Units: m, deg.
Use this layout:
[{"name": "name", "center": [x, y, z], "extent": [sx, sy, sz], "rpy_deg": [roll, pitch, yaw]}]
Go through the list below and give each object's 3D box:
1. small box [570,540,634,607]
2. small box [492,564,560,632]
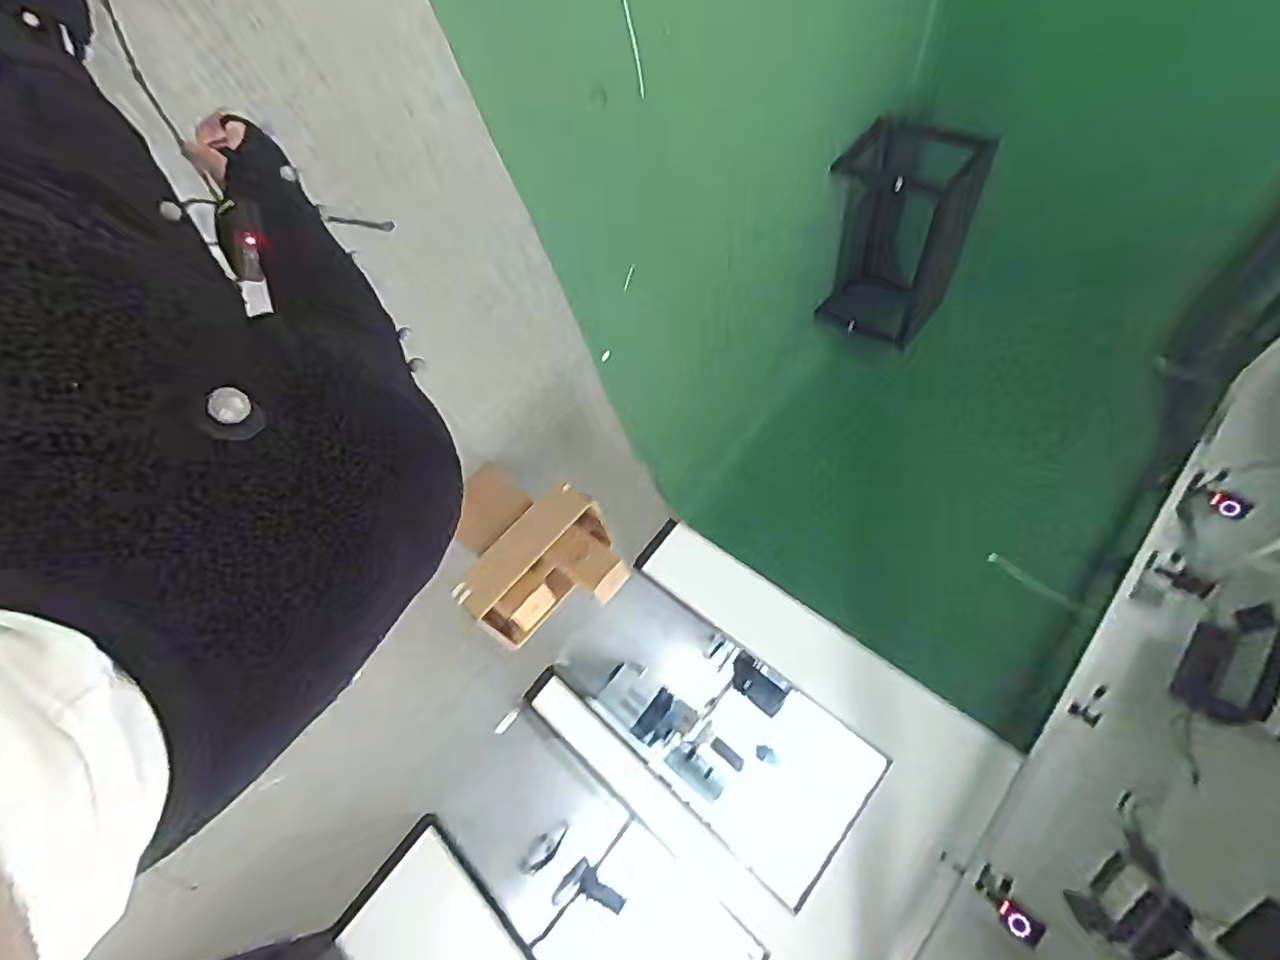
[{"name": "small box", "center": [-0.152, 0.369, 2.155], "extent": [0.168, 0.176, 0.179], "rpy_deg": [-48, 150, -18]}, {"name": "small box", "center": [-0.451, 0.463, 2.137], "extent": [0.168, 0.176, 0.179], "rpy_deg": [-46, 149, -19]}]
